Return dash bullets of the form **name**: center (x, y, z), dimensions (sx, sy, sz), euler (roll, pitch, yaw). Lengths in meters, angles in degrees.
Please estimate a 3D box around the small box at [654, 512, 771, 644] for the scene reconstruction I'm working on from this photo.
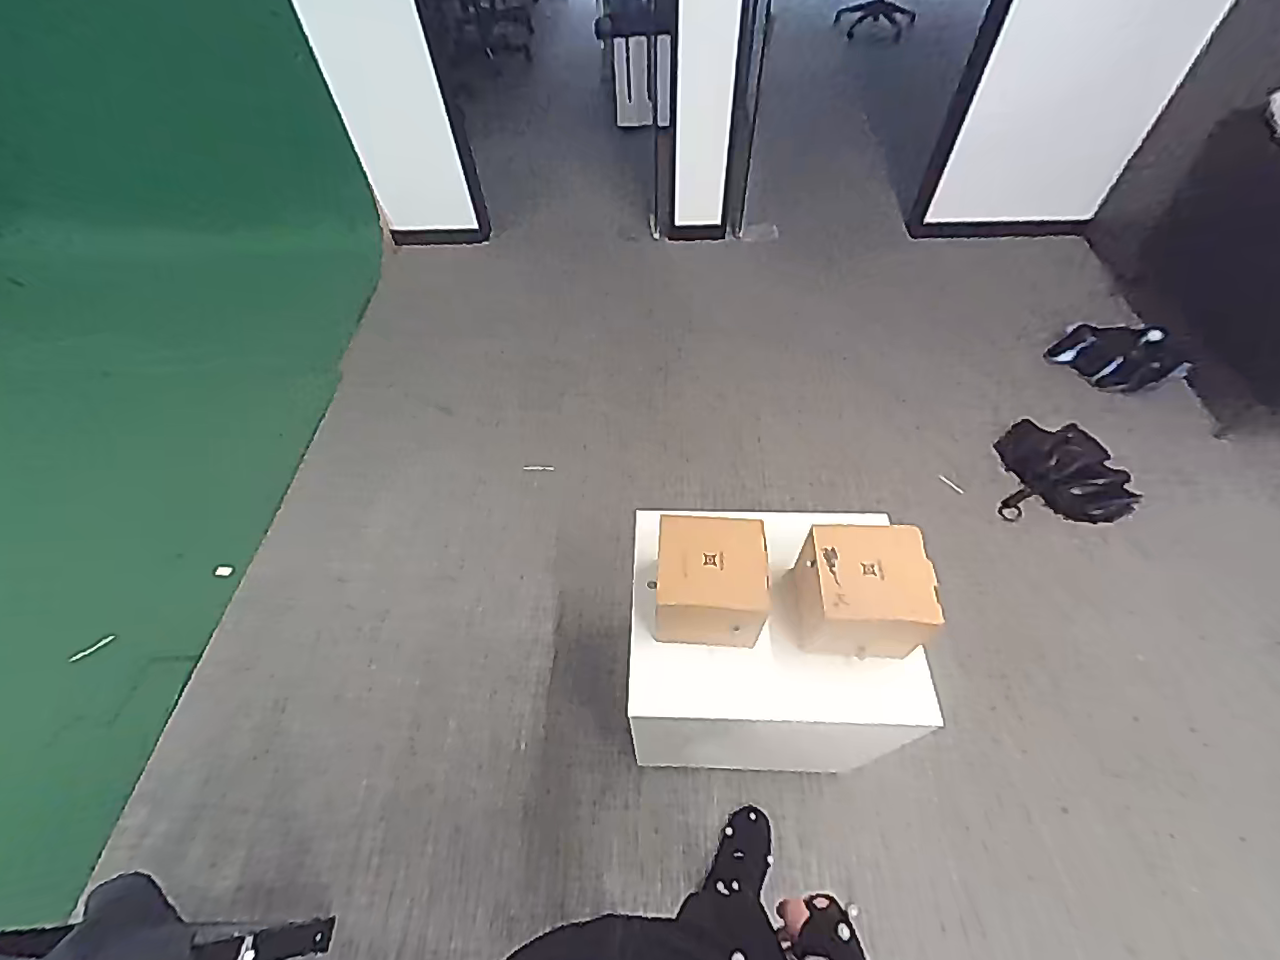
- **small box**: center (0.115, 0.171, 0.920), dimensions (0.179, 0.176, 0.168), euler (2, 54, 2)

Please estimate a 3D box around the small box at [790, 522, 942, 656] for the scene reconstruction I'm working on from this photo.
- **small box**: center (0.364, 0.187, 0.906), dimensions (0.179, 0.176, 0.168), euler (3, 55, 2)
